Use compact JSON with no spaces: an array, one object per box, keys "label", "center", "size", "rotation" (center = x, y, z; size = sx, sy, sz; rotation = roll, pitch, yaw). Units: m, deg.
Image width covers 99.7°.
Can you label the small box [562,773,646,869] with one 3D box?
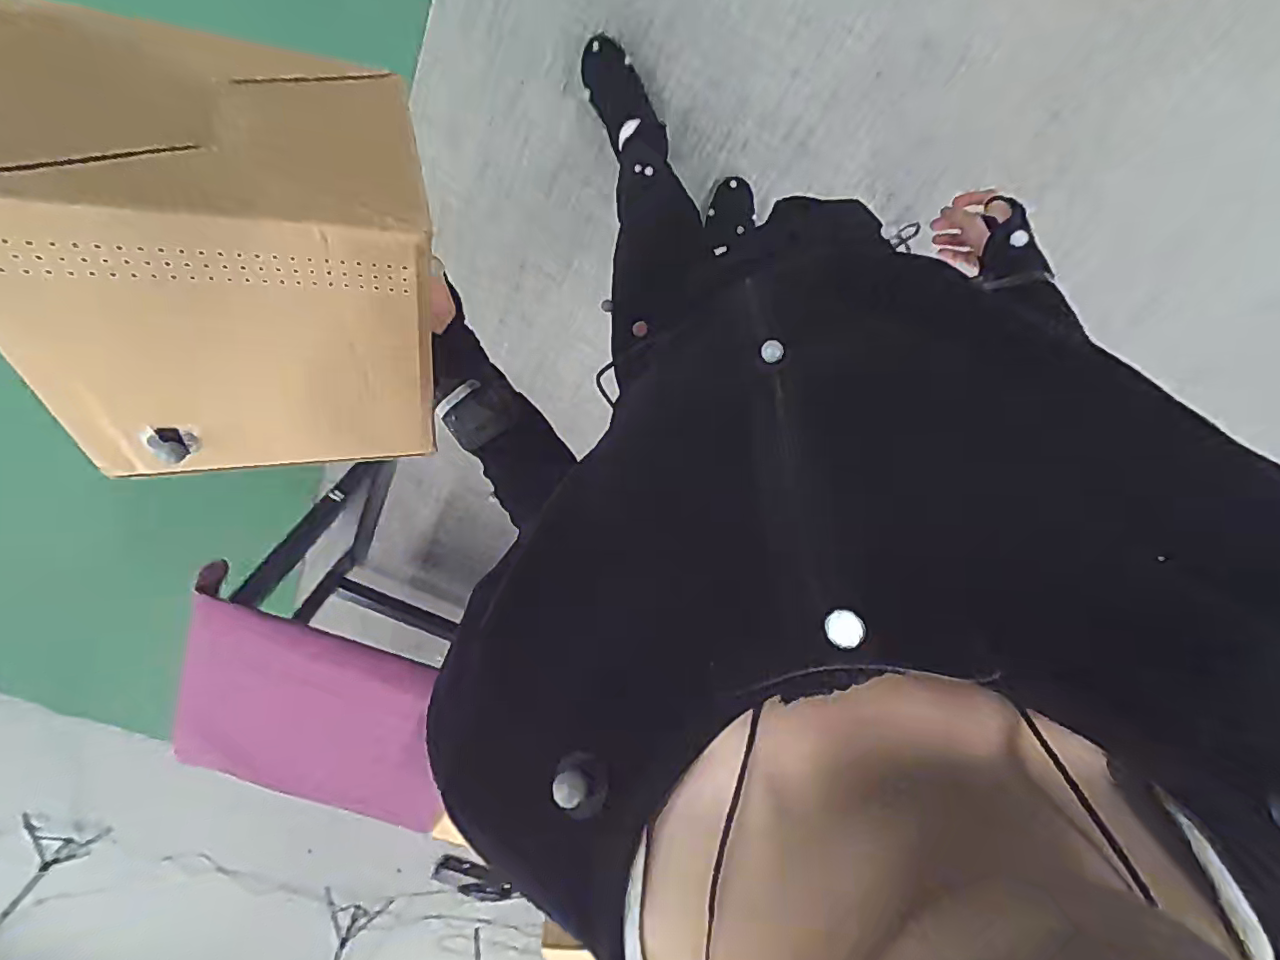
[{"label":"small box","center":[-0.078,0.798,1.236],"size":[0.179,0.176,0.168],"rotation":[5,123,0]}]

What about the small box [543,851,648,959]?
[{"label":"small box","center":[-0.079,0.878,1.091],"size":[0.179,0.176,0.168],"rotation":[-4,123,8]}]

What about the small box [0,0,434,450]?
[{"label":"small box","center":[-0.216,-0.136,0.300],"size":[0.179,0.168,0.176],"rotation":[-5,147,-25]}]
